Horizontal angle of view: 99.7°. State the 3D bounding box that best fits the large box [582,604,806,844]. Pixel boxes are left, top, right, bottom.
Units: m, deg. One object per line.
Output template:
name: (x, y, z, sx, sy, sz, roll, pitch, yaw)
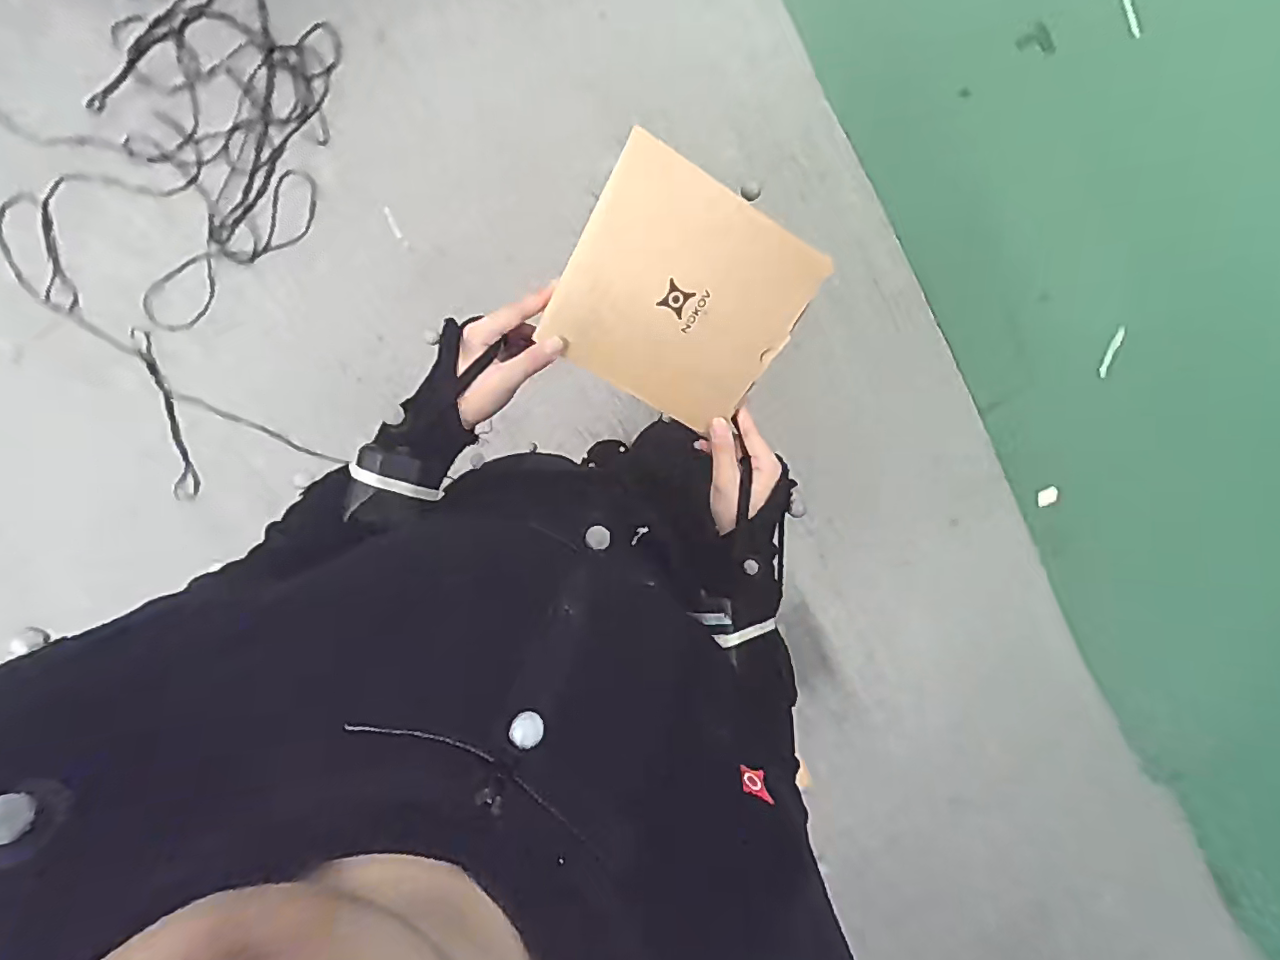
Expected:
large box: (0.119, 0.558, 1.291, 0.408, 0.320, 0.320, -23, 98, 5)
